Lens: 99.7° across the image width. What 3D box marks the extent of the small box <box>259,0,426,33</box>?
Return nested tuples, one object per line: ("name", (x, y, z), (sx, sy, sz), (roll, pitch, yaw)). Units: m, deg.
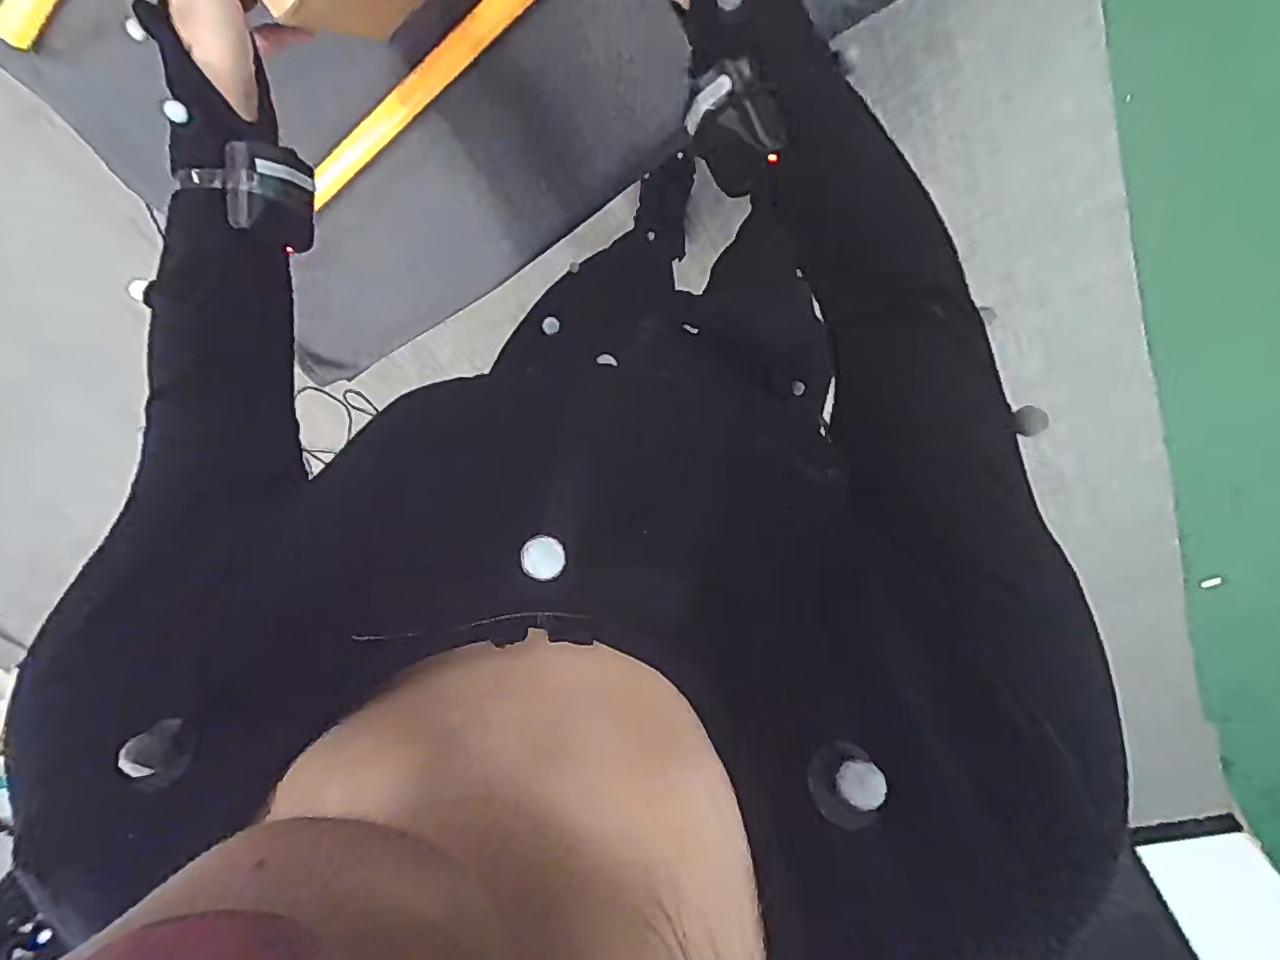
("small box", (-0.212, -0.453, 0.374), (0.179, 0.176, 0.168), (-24, 121, 20))
